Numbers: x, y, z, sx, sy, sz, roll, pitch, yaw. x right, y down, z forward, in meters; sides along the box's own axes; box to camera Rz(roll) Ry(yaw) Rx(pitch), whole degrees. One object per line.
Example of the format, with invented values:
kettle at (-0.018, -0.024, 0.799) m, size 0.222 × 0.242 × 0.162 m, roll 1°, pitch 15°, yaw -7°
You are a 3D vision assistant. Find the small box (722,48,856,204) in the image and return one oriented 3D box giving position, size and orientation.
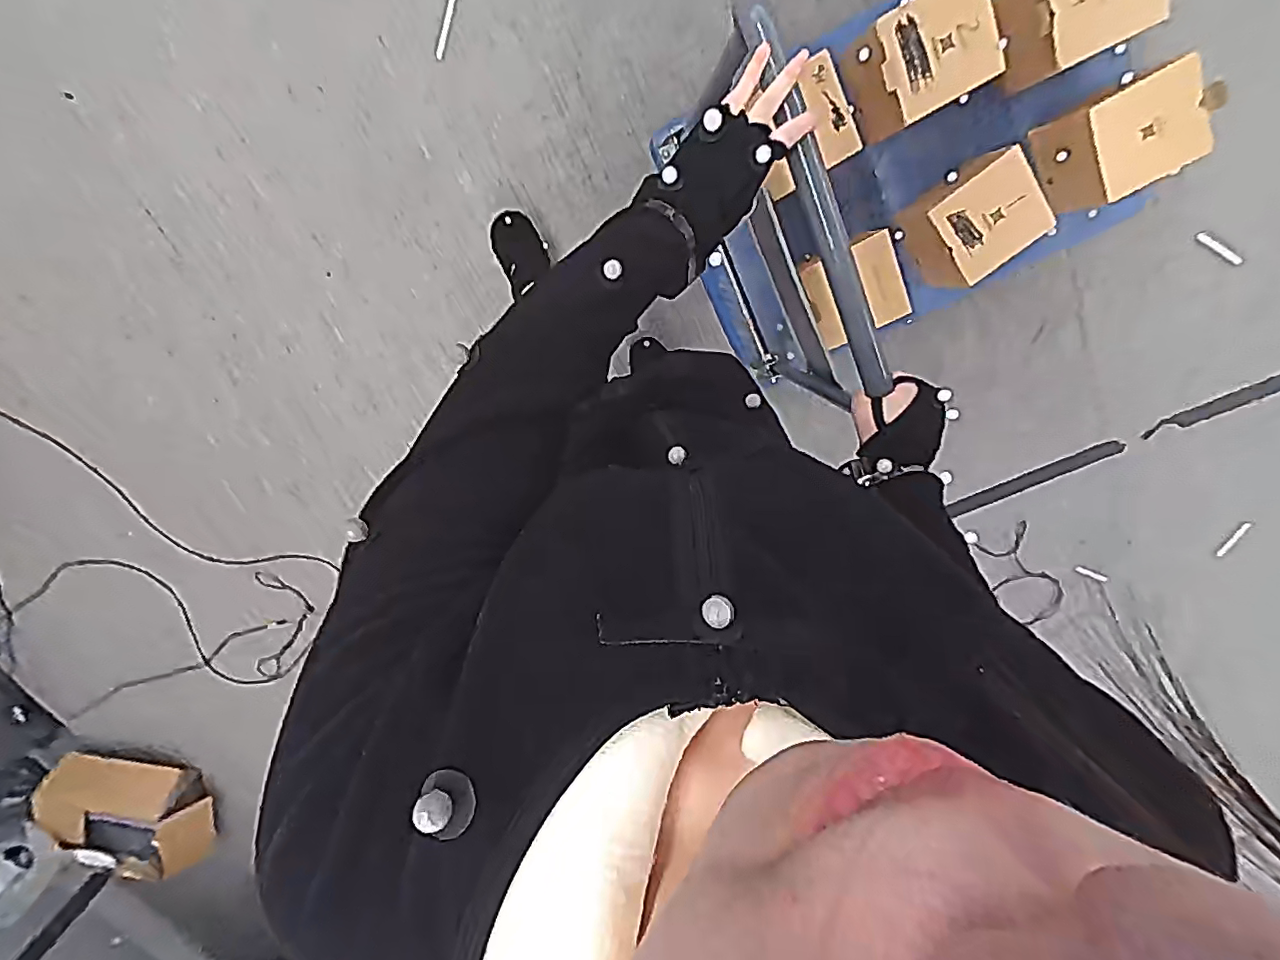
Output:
small box at (0.264, -0.637, 1.003) m, size 0.179 × 0.176 × 0.168 m, roll -27°, pitch 110°, yaw 11°

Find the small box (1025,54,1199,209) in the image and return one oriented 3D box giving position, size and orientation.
small box at (0.862, -0.630, 1.008) m, size 0.179 × 0.176 × 0.168 m, roll -27°, pitch 109°, yaw 10°

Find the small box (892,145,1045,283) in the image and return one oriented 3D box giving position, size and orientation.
small box at (0.624, -0.506, 1.056) m, size 0.179 × 0.176 × 0.168 m, roll -36°, pitch 107°, yaw 12°

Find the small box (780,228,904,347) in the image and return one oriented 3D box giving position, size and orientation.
small box at (0.399, -0.390, 1.102) m, size 0.179 × 0.176 × 0.168 m, roll -24°, pitch 110°, yaw 9°

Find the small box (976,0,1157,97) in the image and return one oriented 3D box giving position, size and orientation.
small box at (0.727, -0.809, 0.935) m, size 0.179 × 0.176 × 0.168 m, roll -22°, pitch 109°, yaw 9°
